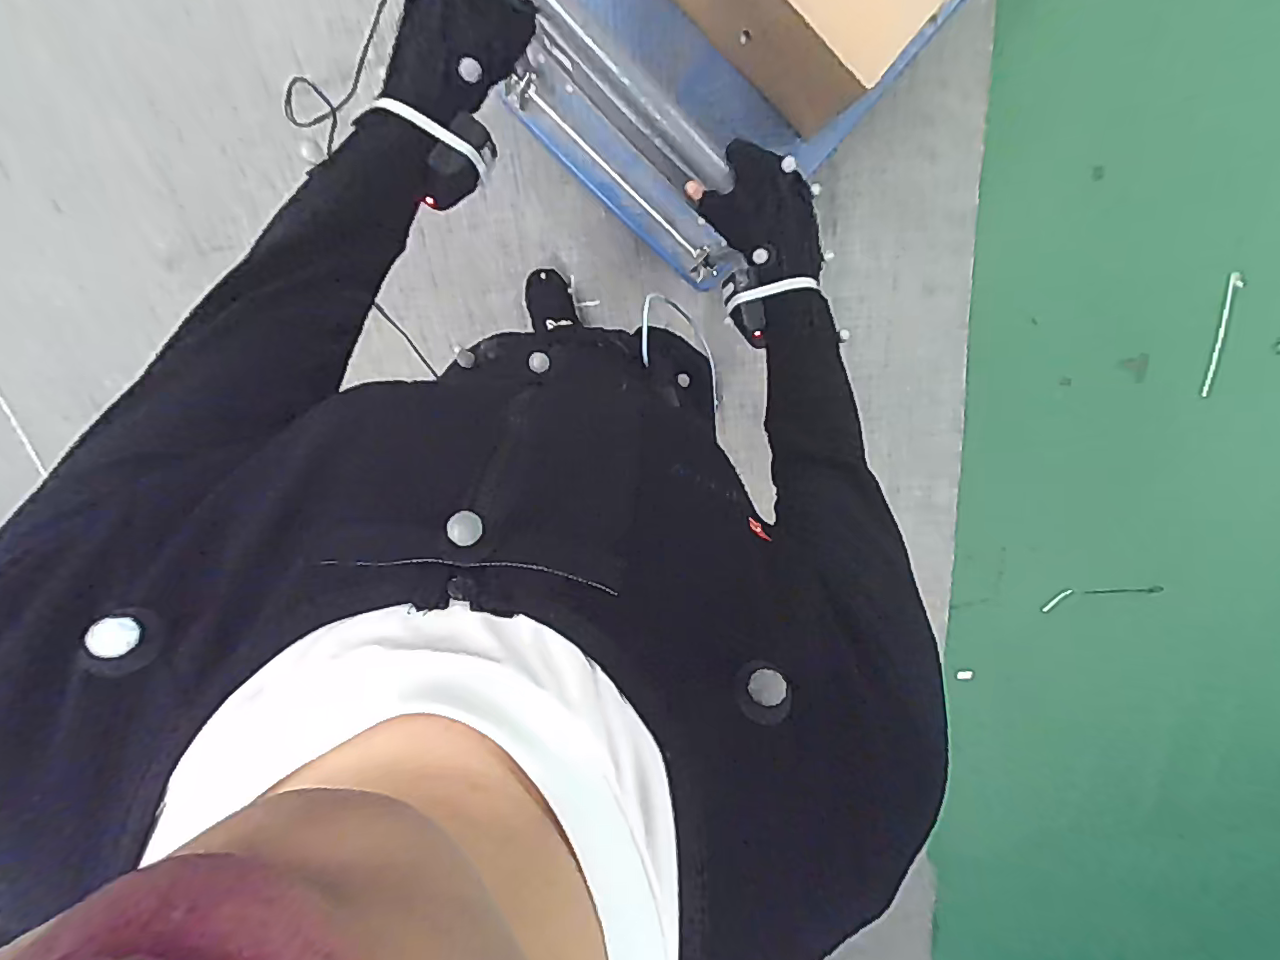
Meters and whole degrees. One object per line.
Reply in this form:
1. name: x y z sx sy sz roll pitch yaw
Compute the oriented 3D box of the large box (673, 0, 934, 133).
1. large box: 0.274 -0.860 0.859 0.408 0.320 0.320 37 105 -14
